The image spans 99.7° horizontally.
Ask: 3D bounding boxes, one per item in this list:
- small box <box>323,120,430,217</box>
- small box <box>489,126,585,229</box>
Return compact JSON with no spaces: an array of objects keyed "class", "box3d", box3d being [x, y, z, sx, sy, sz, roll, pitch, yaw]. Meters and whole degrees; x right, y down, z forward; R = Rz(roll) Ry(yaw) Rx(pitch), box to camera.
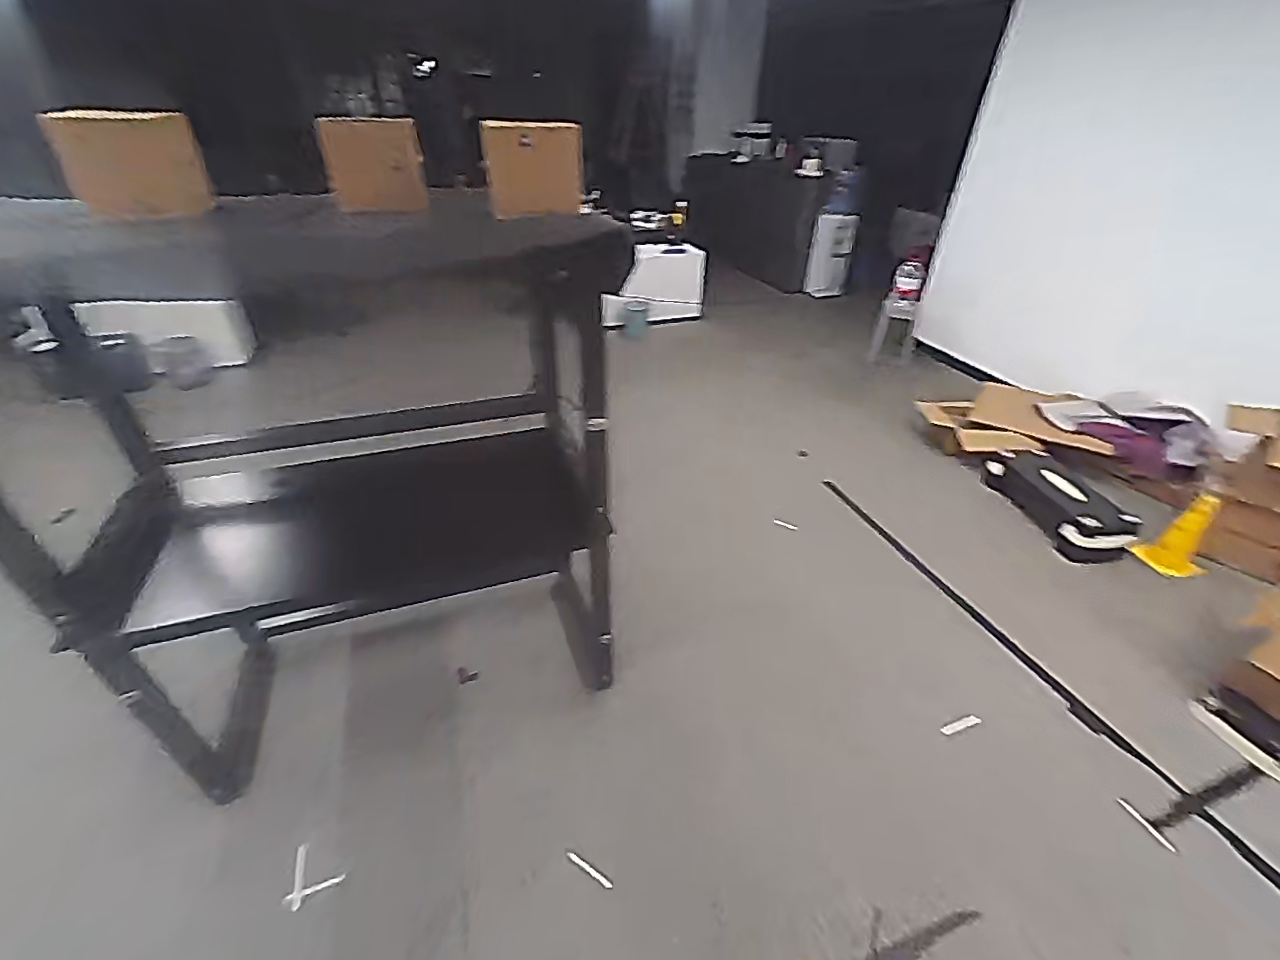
[{"class":"small box","box3d":[-0.564,-0.683,1.185,0.179,0.176,0.168,-9,35,-15]},{"class":"small box","box3d":[-0.207,-0.606,1.083,0.168,0.176,0.179,-9,35,-13]}]
